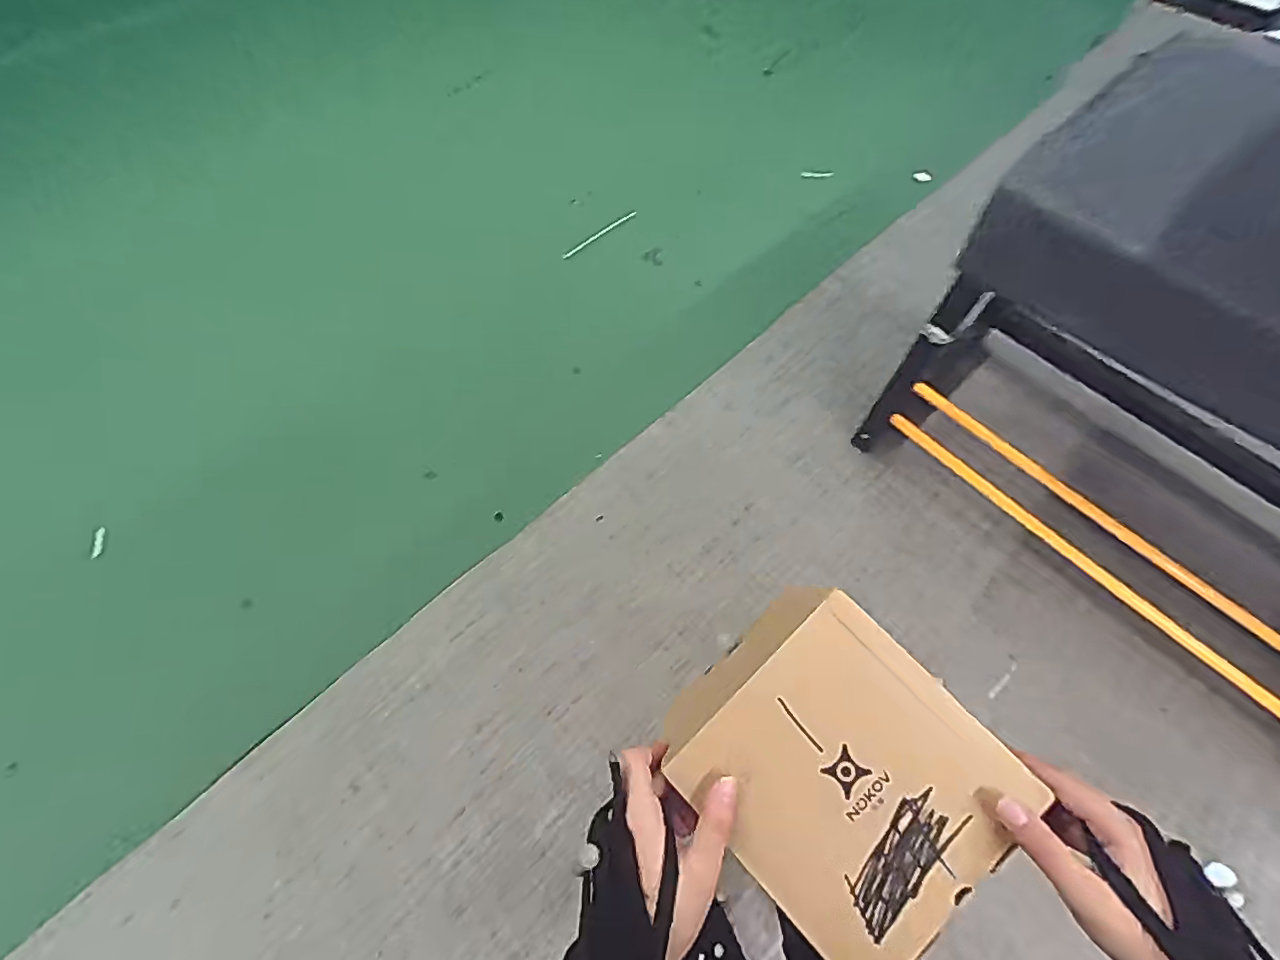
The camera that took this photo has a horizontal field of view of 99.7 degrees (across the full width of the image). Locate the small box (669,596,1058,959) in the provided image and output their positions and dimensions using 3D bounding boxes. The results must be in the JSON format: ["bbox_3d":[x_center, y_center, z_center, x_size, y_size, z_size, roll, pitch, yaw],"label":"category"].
[{"bbox_3d":[0.139,0.203,0.408,0.168,0.176,0.179,-42,79,-7],"label":"small box"}]
